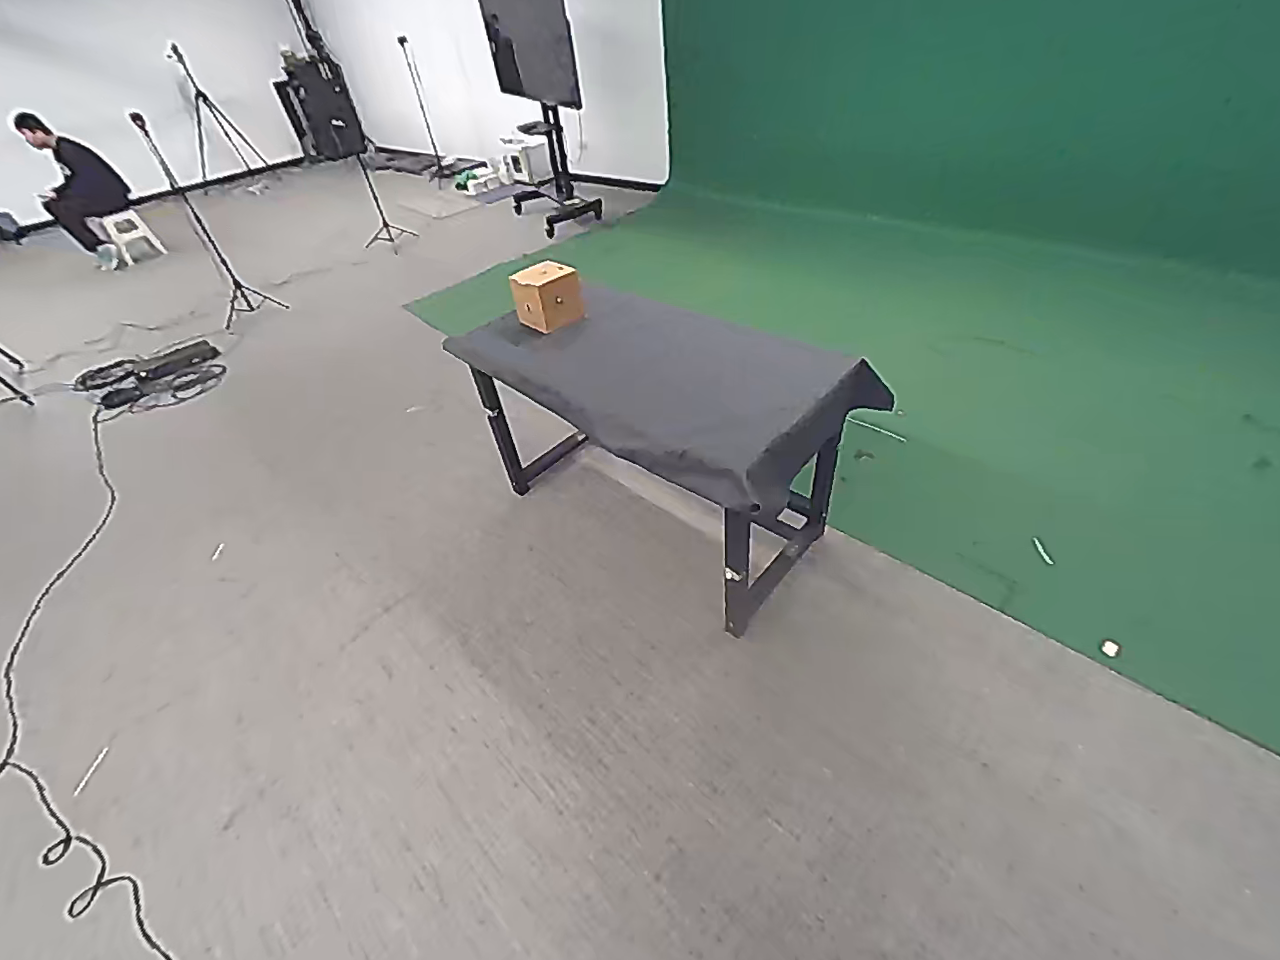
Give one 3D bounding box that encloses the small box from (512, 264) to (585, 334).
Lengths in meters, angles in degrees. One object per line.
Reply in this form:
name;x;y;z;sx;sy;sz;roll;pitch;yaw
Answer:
small box;-0.314;-0.634;1.900;0.168;0.176;0.179;31;55;34
